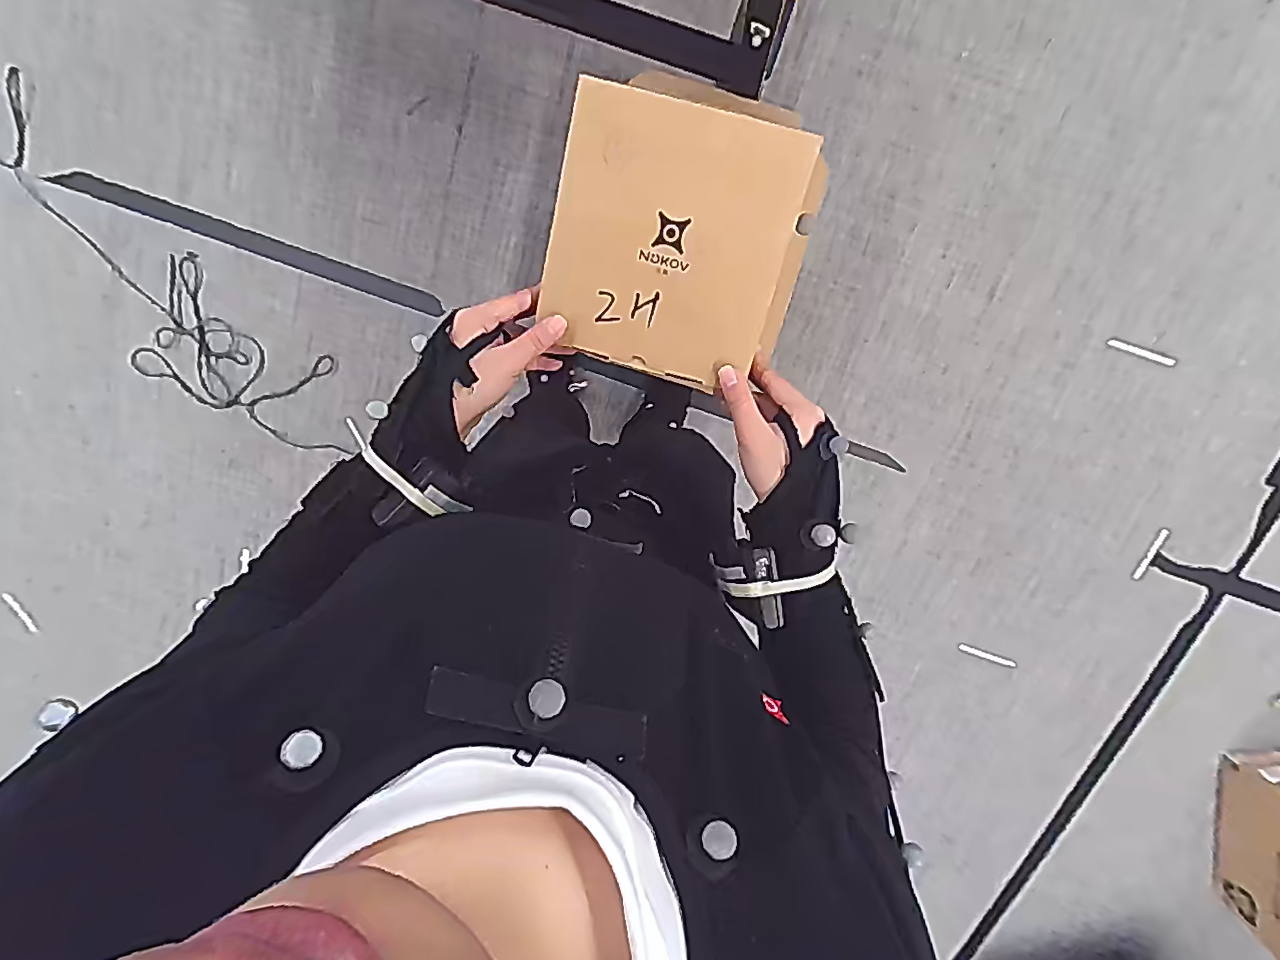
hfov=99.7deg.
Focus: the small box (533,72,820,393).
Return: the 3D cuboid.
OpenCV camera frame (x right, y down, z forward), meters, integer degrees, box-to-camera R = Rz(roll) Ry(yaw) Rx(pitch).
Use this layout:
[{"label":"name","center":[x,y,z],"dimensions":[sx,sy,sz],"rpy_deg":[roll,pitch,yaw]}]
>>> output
[{"label":"small box","center":[0.027,-0.189,0.451],"dimensions":[0.168,0.176,0.179],"rpy_deg":[16,110,3]}]
